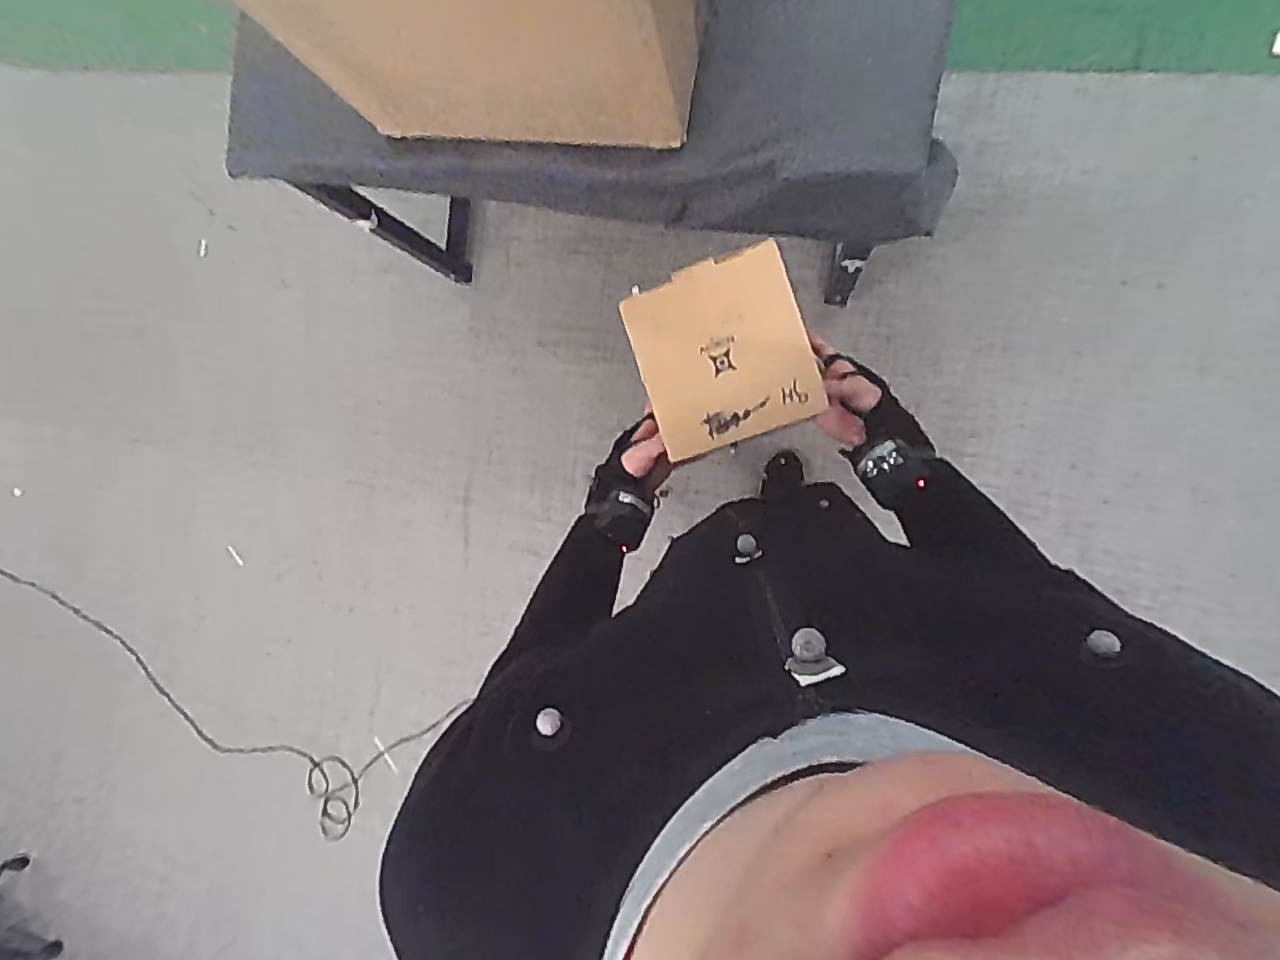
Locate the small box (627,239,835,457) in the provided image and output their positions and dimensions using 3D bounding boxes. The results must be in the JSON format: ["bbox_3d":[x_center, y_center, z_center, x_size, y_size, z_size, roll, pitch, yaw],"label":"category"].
[{"bbox_3d":[0.102,-0.130,0.610,0.168,0.176,0.179,-19,88,13],"label":"small box"}]
